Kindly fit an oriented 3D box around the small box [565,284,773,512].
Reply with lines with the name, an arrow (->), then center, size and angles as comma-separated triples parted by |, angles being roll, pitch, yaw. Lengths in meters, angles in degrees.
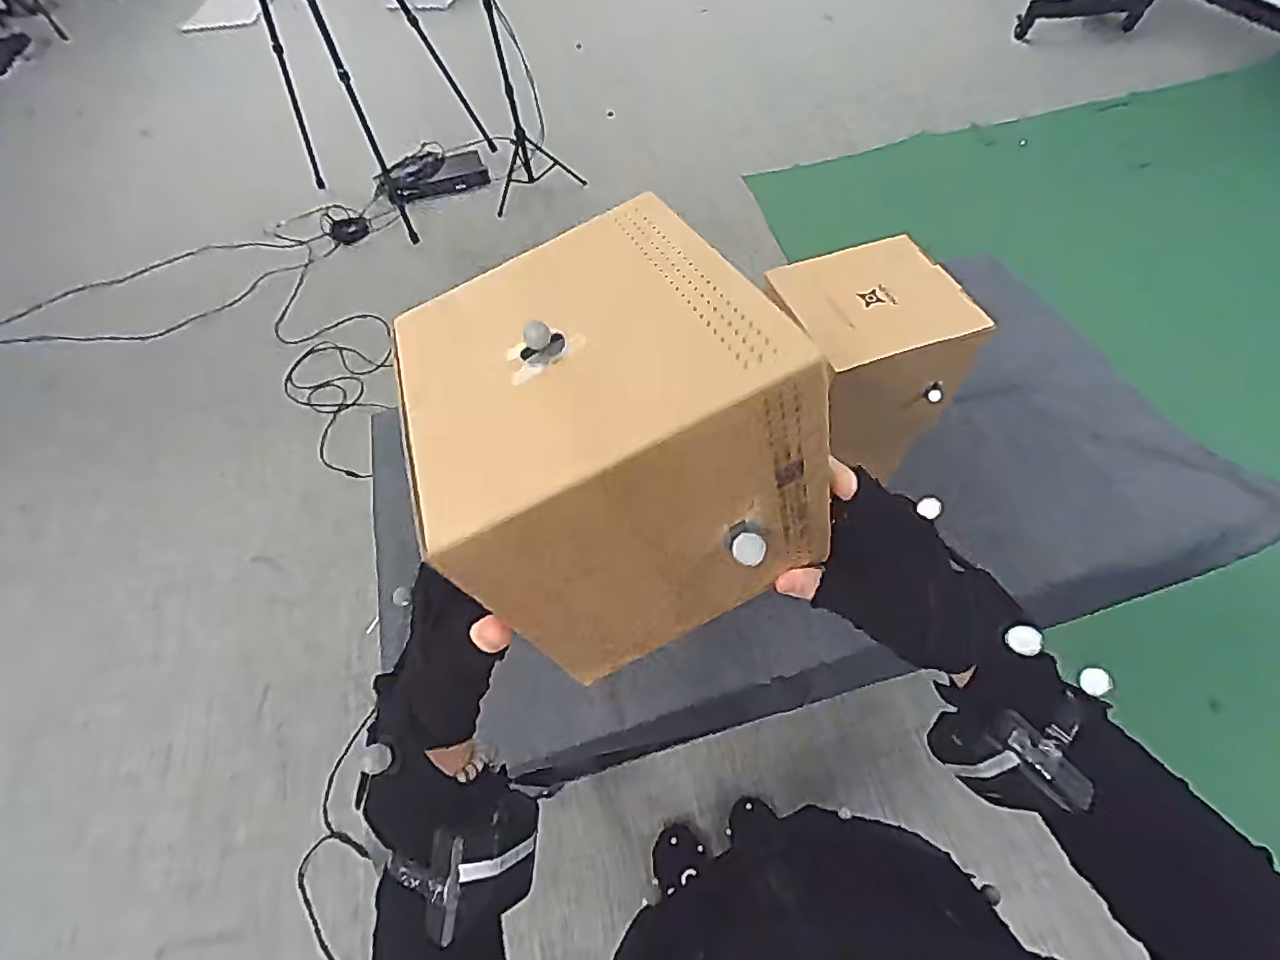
small box -> 0.032, -0.086, 0.624 | 0.179, 0.176, 0.168 | -20, 59, -6
